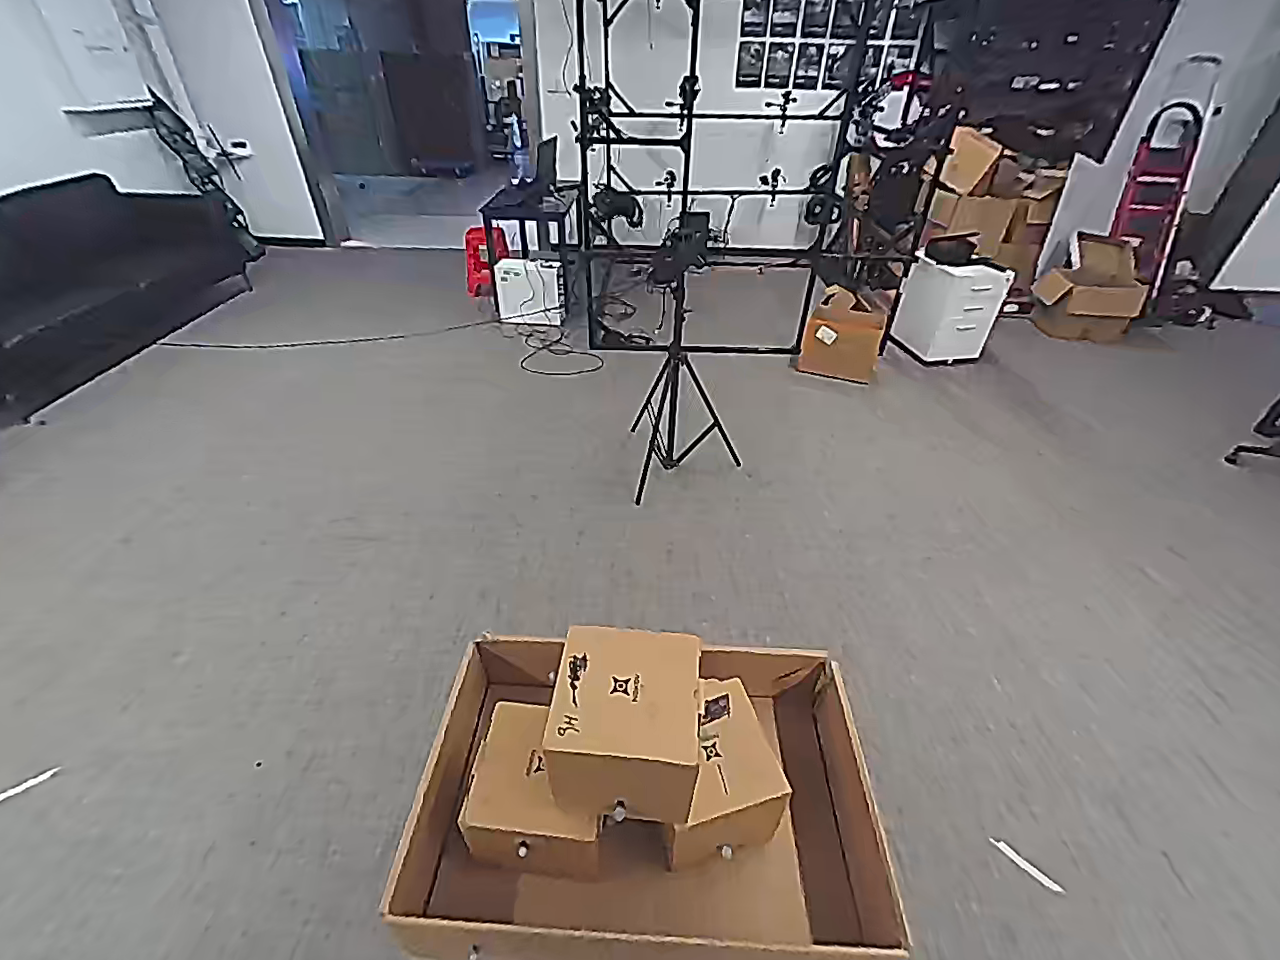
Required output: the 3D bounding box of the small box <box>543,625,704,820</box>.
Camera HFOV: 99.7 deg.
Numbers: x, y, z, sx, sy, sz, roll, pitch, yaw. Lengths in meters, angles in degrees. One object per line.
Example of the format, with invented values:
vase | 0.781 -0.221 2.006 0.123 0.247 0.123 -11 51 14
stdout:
small box | -0.016 0.312 0.695 0.179 0.176 0.168 5 38 3
